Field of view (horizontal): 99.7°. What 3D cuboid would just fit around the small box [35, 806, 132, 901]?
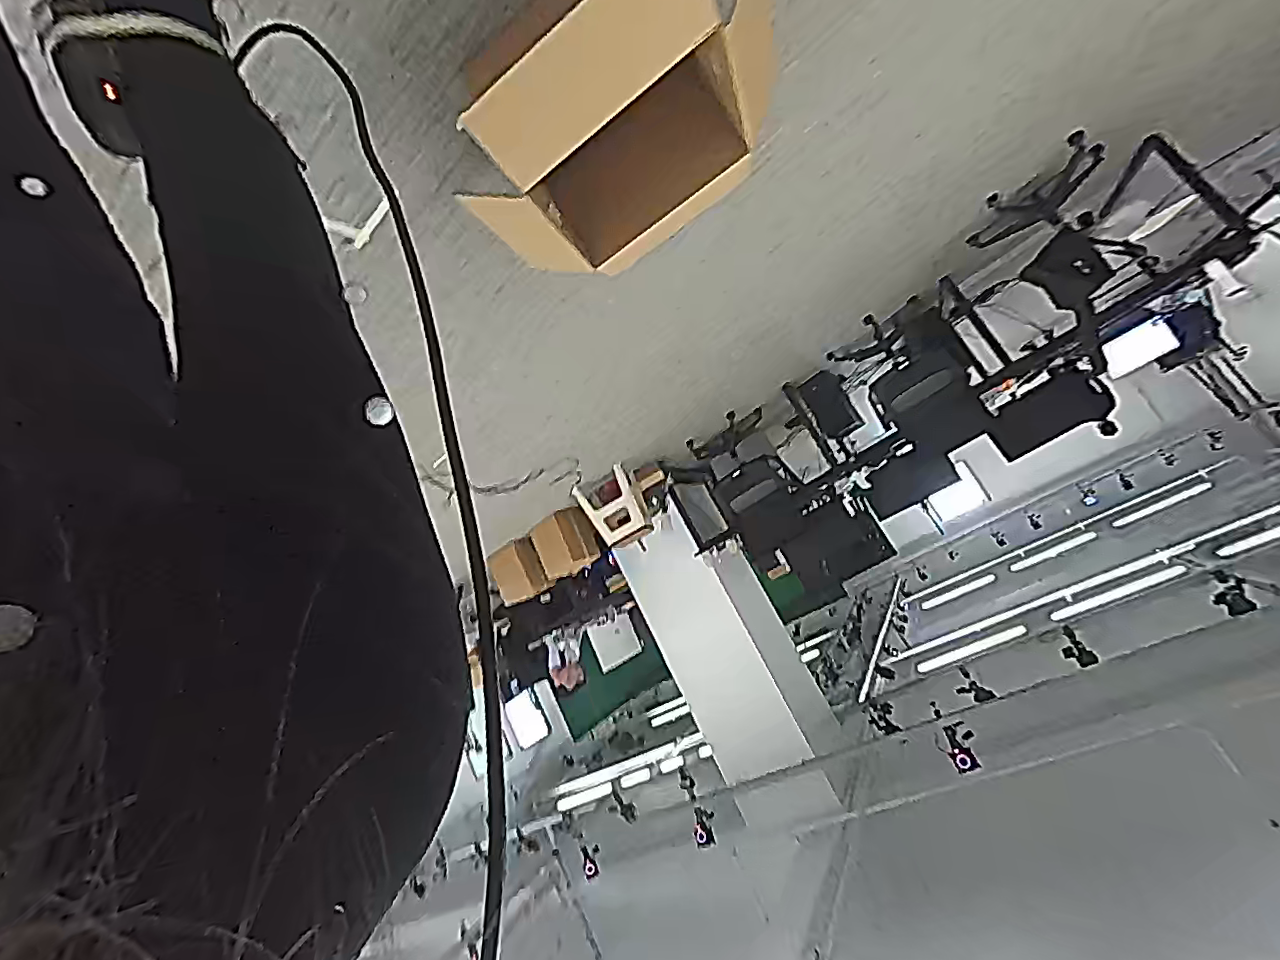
[{"bbox_3d":[-1.769,1.179,1.714,0.168,0.176,0.179,-36,164,27],"label":"small box"}]
